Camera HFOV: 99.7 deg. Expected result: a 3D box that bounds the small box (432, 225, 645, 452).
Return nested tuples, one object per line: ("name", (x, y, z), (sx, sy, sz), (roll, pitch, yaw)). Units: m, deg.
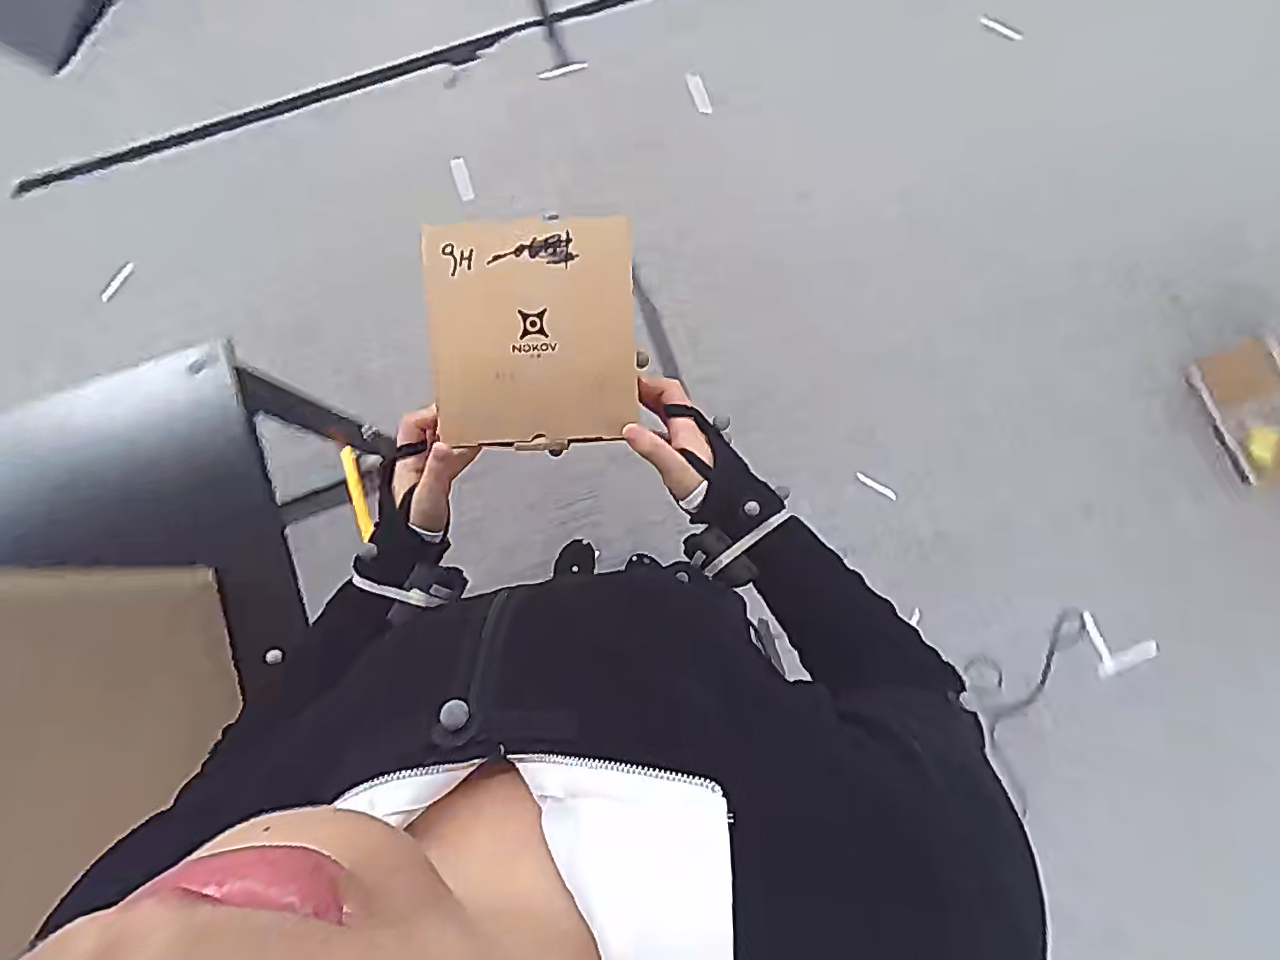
("small box", (-0.079, -0.122, 0.514), (0.168, 0.176, 0.179), (-2, 97, 1))
